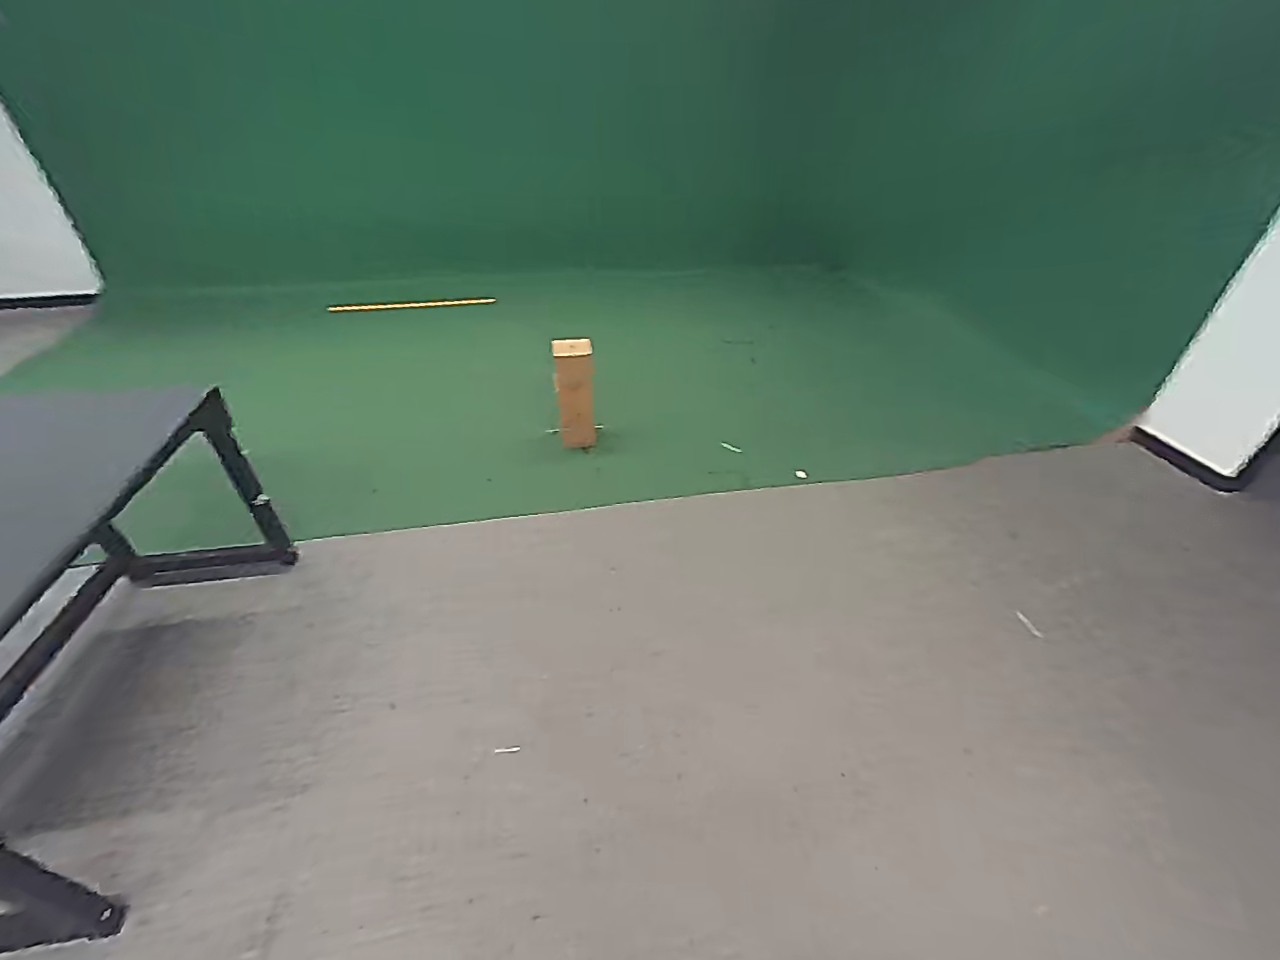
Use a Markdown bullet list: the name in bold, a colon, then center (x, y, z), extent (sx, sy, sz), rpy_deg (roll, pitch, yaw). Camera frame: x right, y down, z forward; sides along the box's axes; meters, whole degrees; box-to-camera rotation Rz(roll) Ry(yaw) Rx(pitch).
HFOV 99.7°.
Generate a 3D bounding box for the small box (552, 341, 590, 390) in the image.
- **small box**: center (-0.323, -0.535, 2.524), extent (0.168, 0.176, 0.179), rpy_deg (-5, 37, -9)

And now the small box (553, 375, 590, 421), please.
- **small box**: center (-0.333, -0.399, 2.618), extent (0.168, 0.176, 0.179), rpy_deg (-5, 37, -10)
